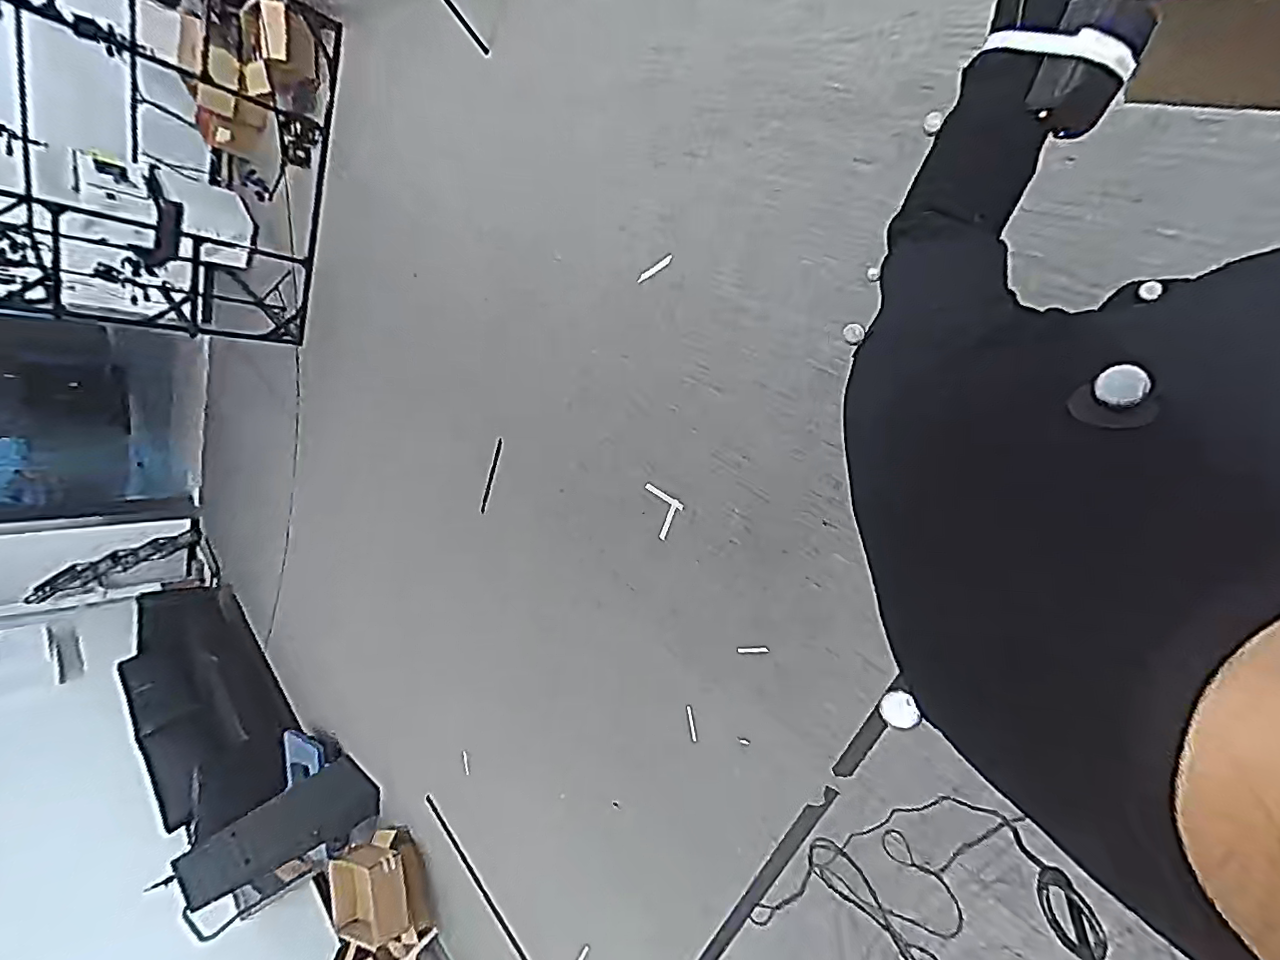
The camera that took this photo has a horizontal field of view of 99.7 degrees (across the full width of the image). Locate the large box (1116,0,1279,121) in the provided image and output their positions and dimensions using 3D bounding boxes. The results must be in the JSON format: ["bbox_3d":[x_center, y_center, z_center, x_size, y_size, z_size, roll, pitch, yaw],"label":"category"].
[{"bbox_3d":[0.570,-0.394,0.282,0.408,0.320,0.320,28,123,30],"label":"large box"}]
